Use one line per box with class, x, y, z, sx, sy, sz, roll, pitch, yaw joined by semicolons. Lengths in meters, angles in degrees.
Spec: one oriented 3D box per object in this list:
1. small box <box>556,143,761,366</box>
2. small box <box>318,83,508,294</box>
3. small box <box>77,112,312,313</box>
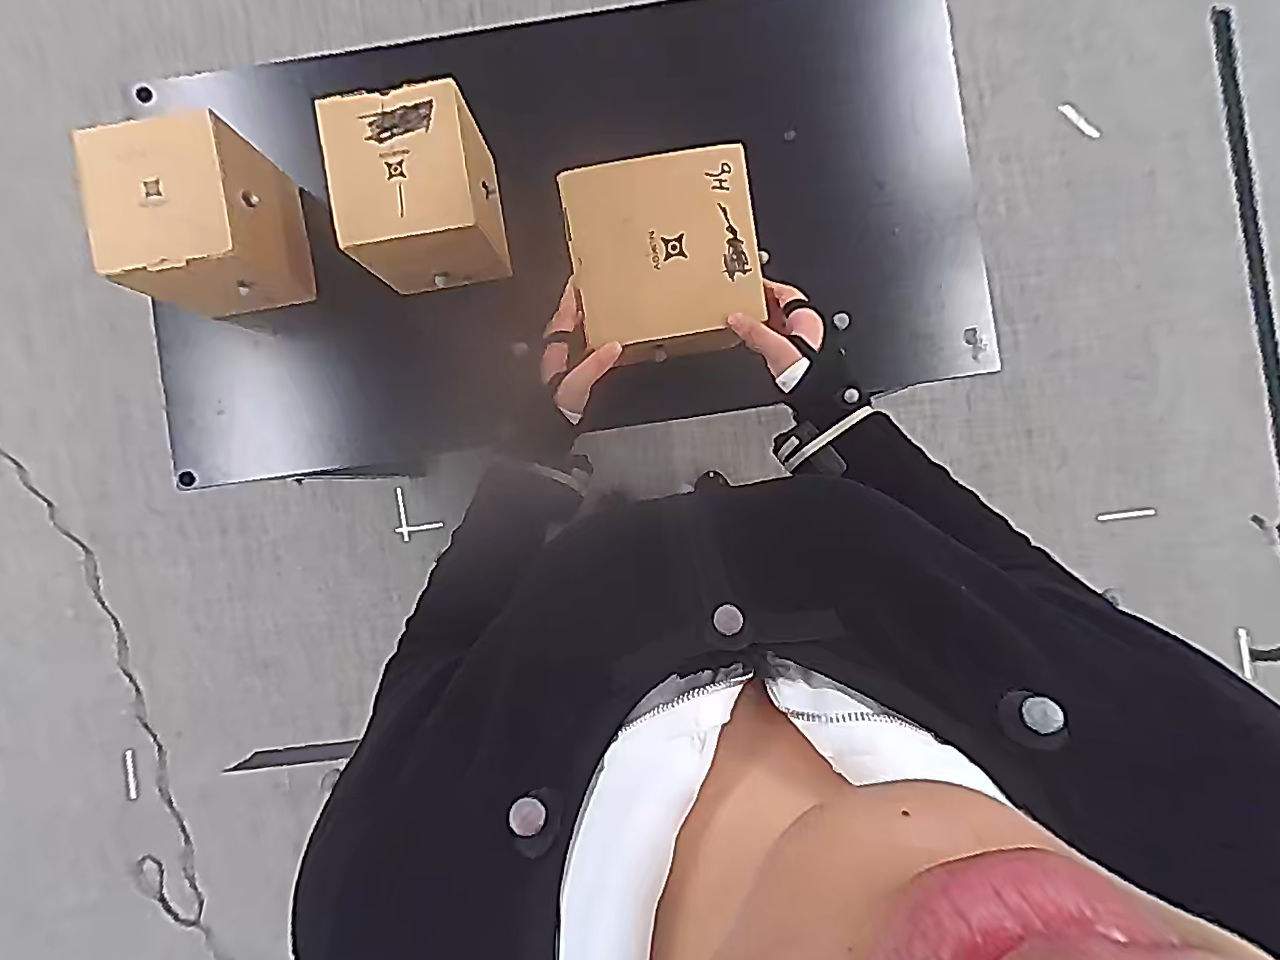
small box;0.019;-0.227;0.590;0.179;0.176;0.168;-10;95;0
small box;-0.284;-0.368;0.711;0.168;0.176;0.179;-9;91;1
small box;-0.569;-0.335;0.716;0.168;0.176;0.179;-10;89;0
